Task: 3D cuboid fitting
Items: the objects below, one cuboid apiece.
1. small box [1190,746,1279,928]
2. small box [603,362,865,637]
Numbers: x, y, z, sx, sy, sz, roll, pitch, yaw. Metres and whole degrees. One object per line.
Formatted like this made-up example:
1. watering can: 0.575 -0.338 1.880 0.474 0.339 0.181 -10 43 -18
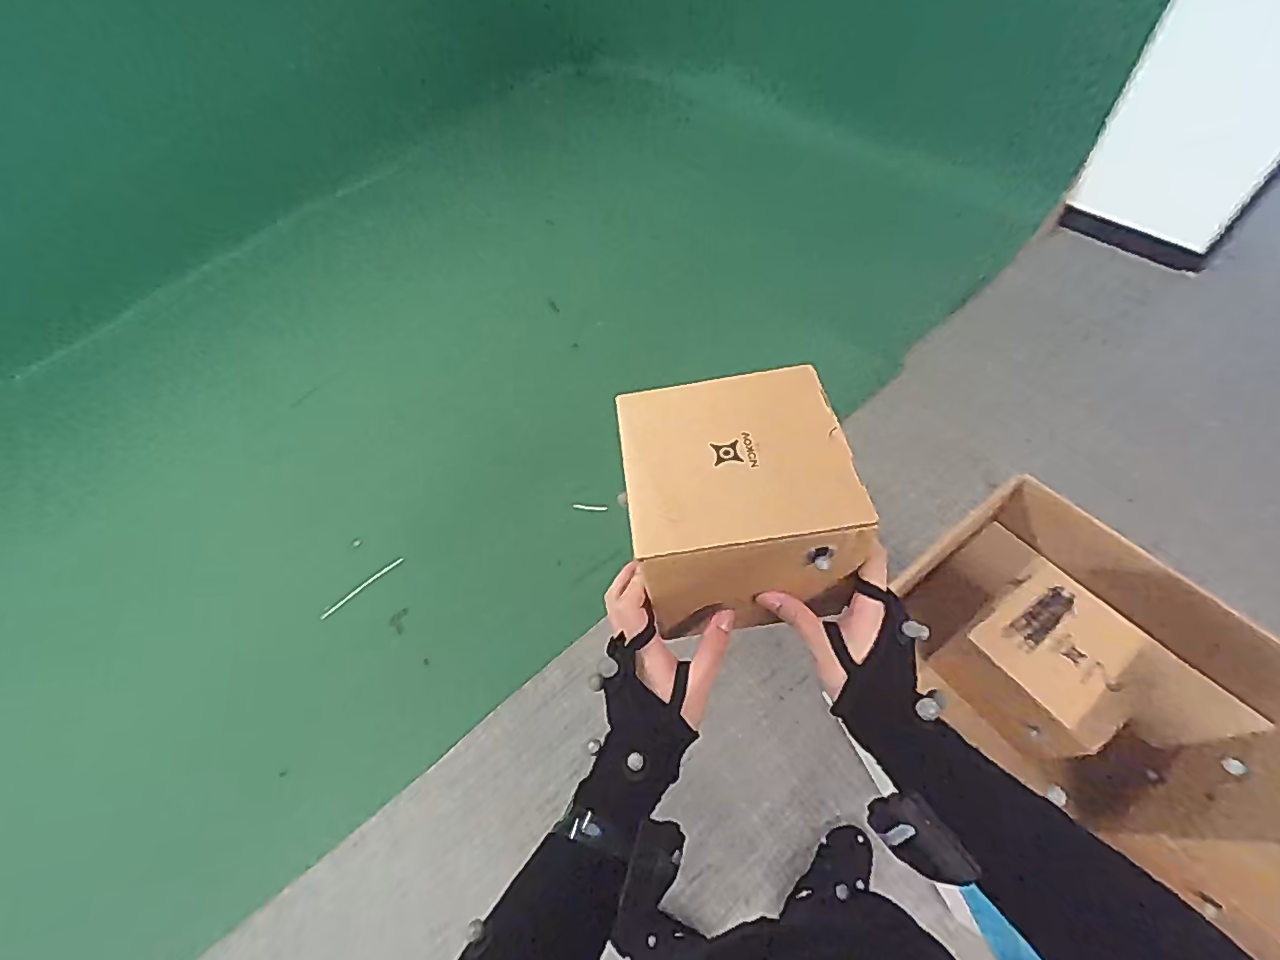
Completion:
1. small box: 0.661 0.341 0.464 0.168 0.176 0.179 -37 58 -12
2. small box: 0.072 0.025 0.481 0.179 0.176 0.168 -10 53 1
